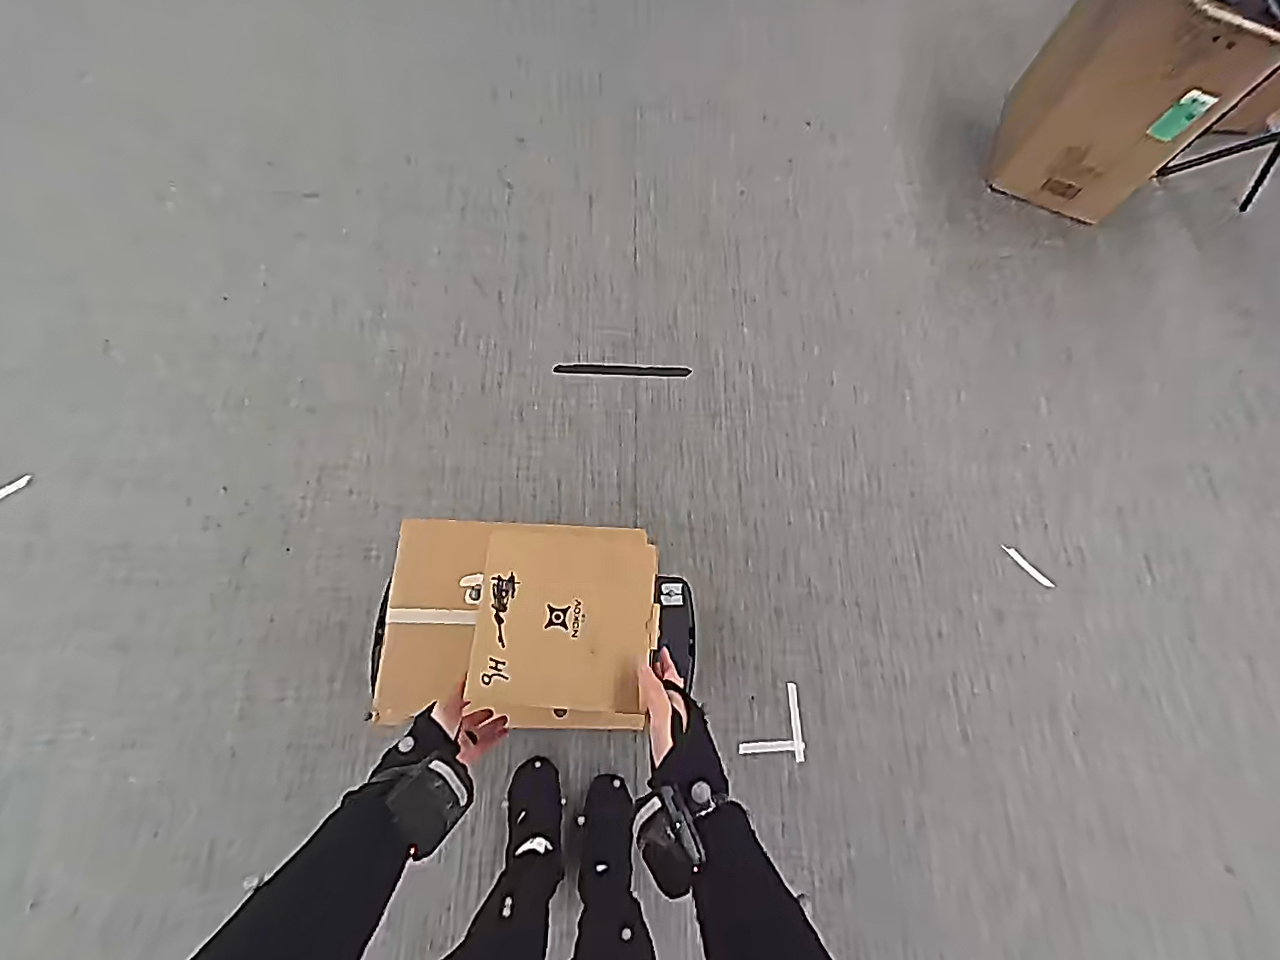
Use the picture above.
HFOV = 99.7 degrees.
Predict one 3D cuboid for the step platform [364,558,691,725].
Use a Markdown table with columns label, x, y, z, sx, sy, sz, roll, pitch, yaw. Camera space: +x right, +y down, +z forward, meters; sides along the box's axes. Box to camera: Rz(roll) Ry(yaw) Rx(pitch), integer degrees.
| label | x | y | z | sx | sy | sz | roll | pitch | yaw |
| --- | --- | --- | --- | --- | --- | --- | --- | --- | --- |
| step platform | -0.228 | 0.353 | 1.202 | 0.684 | 0.204 | 0.286 | 8 | 71 | -2 |

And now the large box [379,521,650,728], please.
| label | x | y | z | sx | sy | sz | roll | pitch | yaw |
| --- | --- | --- | --- | --- | --- | --- | --- | --- | --- |
| large box | -0.190 | 0.263 | 0.984 | 0.408 | 0.320 | 0.320 | 2 | 70 | -3 |

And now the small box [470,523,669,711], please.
| label | x | y | z | sx | sy | sz | roll | pitch | yaw |
| --- | --- | --- | --- | --- | --- | --- | --- | --- | --- |
| small box | -0.071 | 0.154 | 0.599 | 0.179 | 0.176 | 0.168 | 6 | 70 | -4 |
